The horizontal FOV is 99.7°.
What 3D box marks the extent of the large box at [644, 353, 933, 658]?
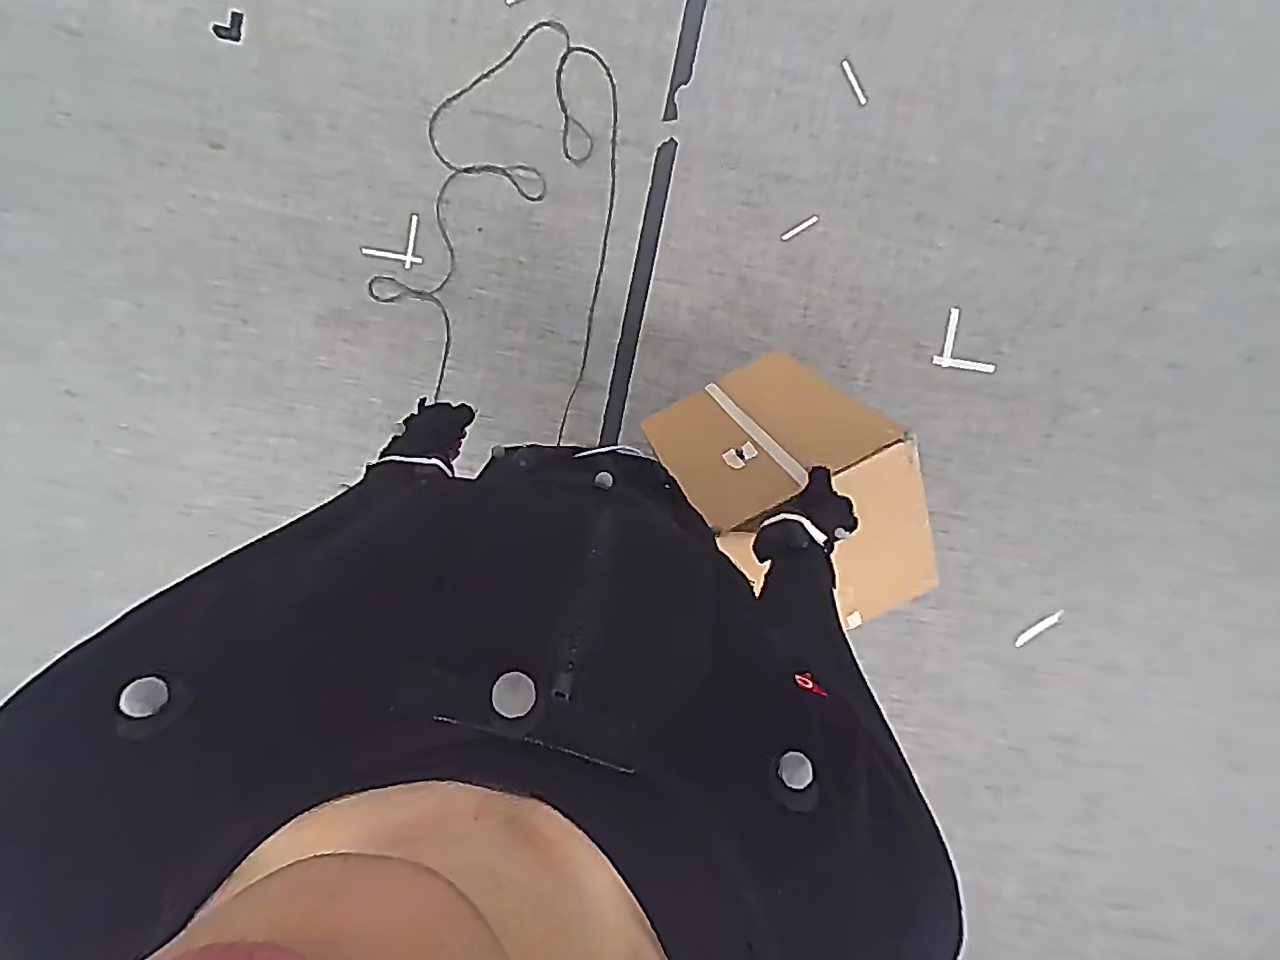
[{"bbox_3d":[0.247,0.027,0.977,0.320,0.408,0.320,-29,123,2],"label":"large box"}]
